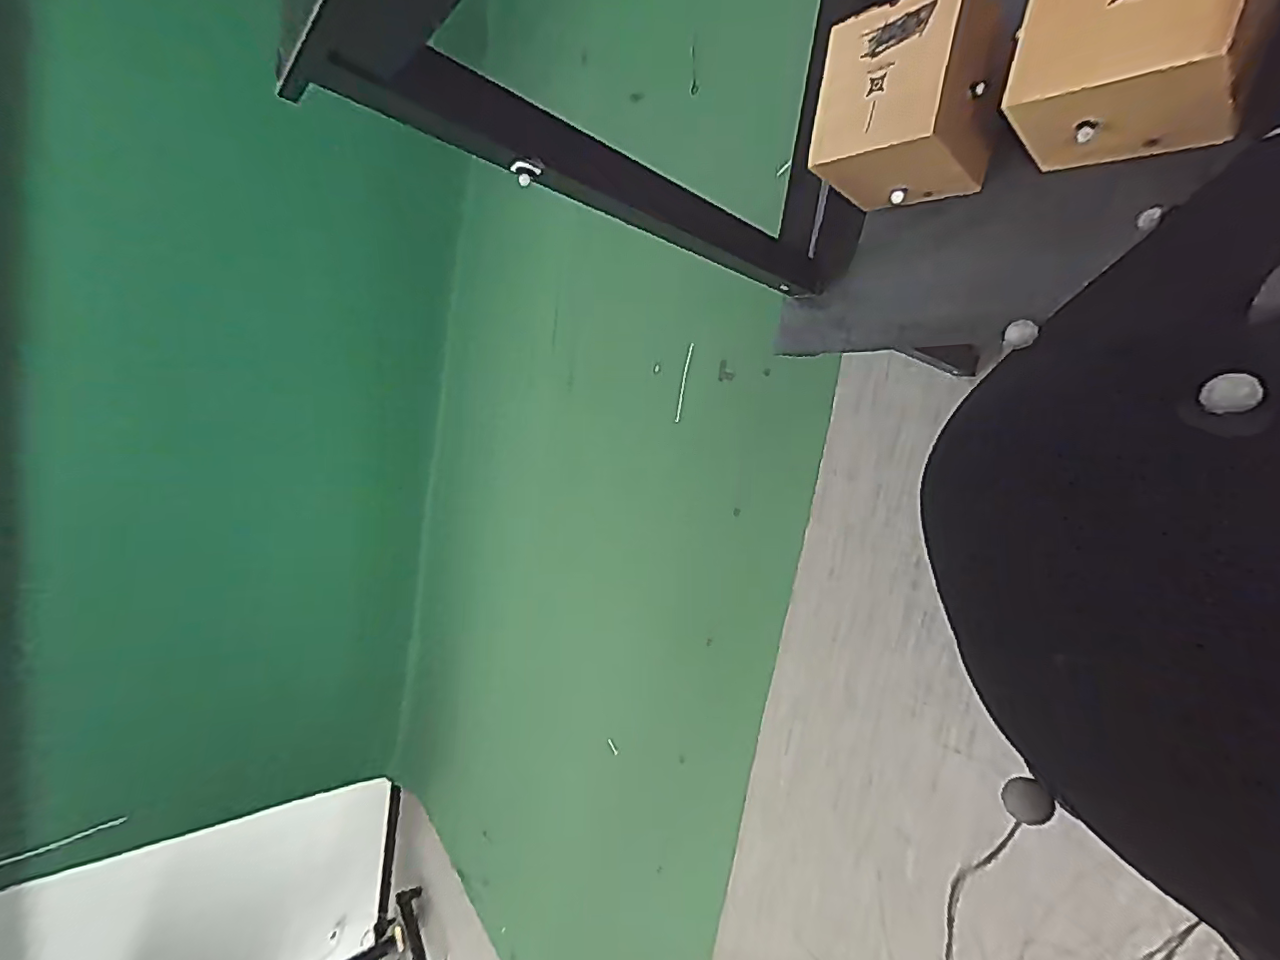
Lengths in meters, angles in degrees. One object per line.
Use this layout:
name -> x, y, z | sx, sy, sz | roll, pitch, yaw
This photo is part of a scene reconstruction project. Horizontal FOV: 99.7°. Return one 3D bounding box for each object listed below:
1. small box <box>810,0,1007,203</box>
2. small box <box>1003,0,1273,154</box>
small box -> 0.353, -0.495, 0.709 | 0.168, 0.176, 0.179 | 18, 102, 47
small box -> 0.503, -0.456, 0.541 | 0.168, 0.176, 0.179 | 19, 102, 47
